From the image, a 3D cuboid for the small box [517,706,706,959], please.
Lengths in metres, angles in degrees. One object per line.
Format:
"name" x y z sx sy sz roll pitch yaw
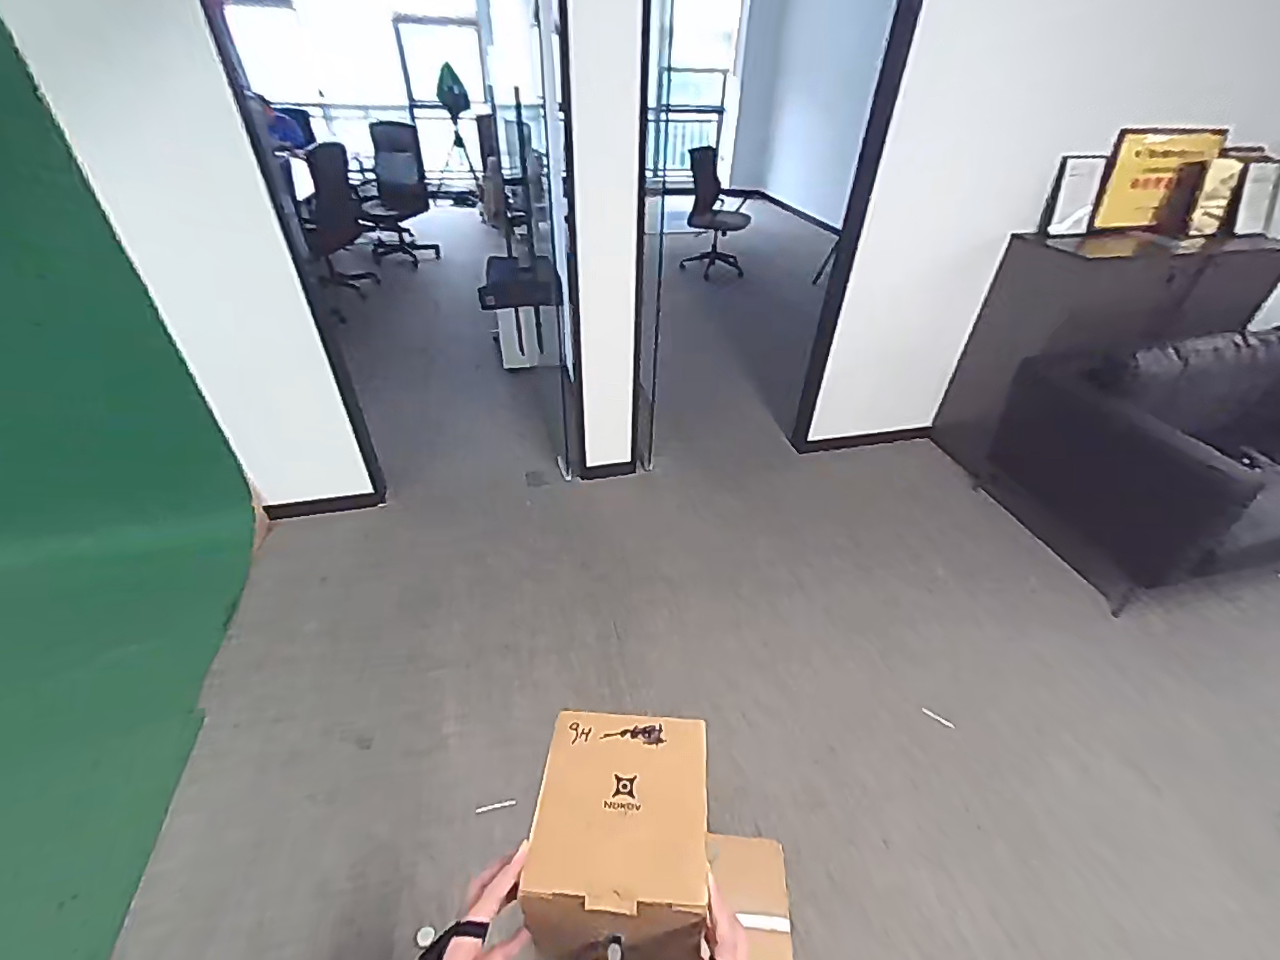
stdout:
"small box" -0.016 0.370 0.571 0.168 0.176 0.179 3 35 5
